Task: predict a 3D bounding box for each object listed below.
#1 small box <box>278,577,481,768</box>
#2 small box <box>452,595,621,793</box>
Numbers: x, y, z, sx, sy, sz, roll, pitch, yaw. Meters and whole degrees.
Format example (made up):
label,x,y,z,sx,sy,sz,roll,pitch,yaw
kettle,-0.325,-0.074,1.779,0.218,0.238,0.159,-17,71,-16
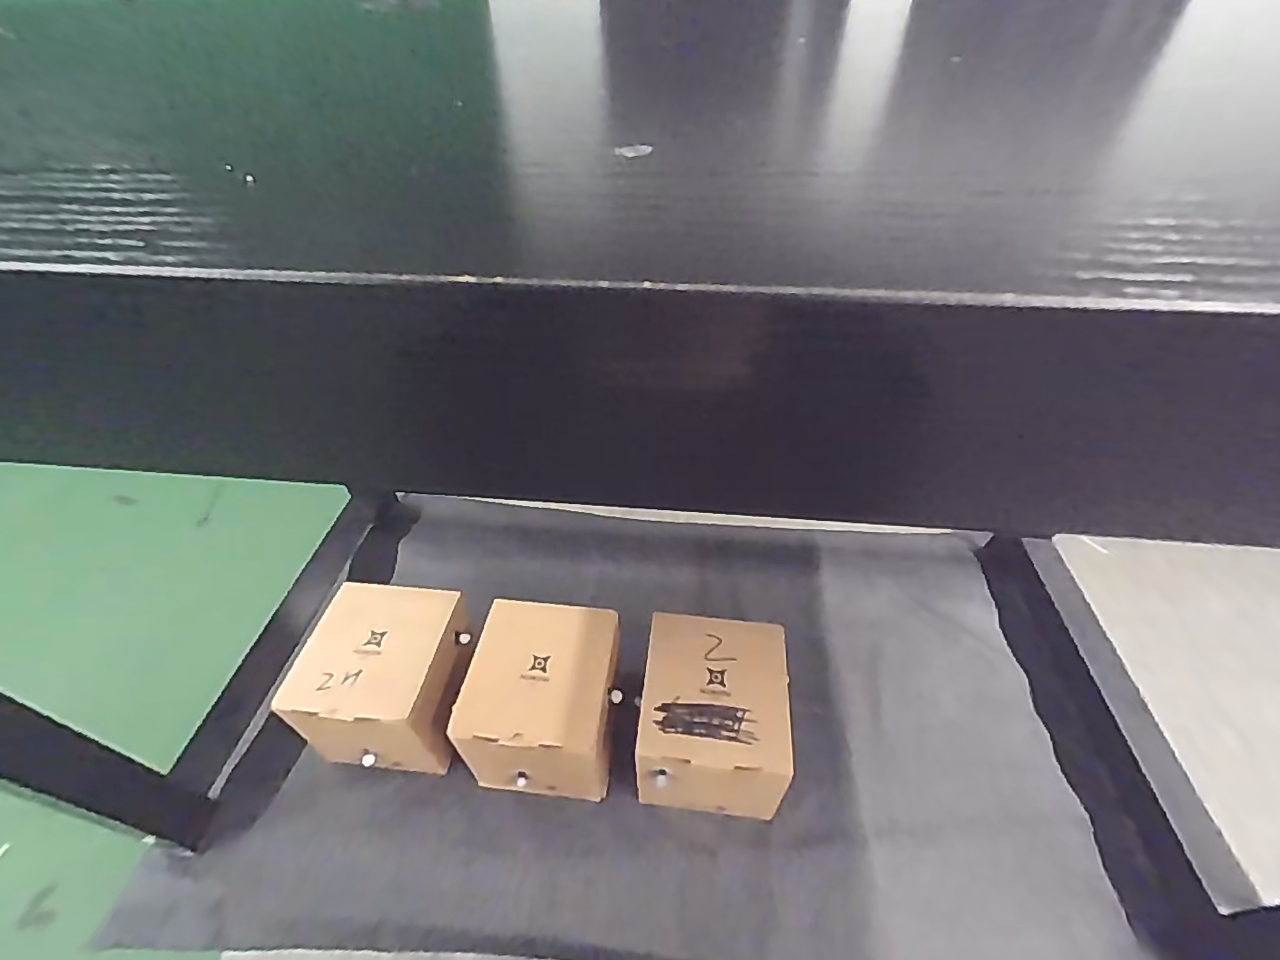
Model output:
label,x,y,z,sx,sy,sz,roll,pitch,yaw
small box,-0.324,0.255,0.722,0.168,0.176,0.179,4,45,5
small box,-0.118,0.276,0.701,0.168,0.176,0.179,5,45,5
